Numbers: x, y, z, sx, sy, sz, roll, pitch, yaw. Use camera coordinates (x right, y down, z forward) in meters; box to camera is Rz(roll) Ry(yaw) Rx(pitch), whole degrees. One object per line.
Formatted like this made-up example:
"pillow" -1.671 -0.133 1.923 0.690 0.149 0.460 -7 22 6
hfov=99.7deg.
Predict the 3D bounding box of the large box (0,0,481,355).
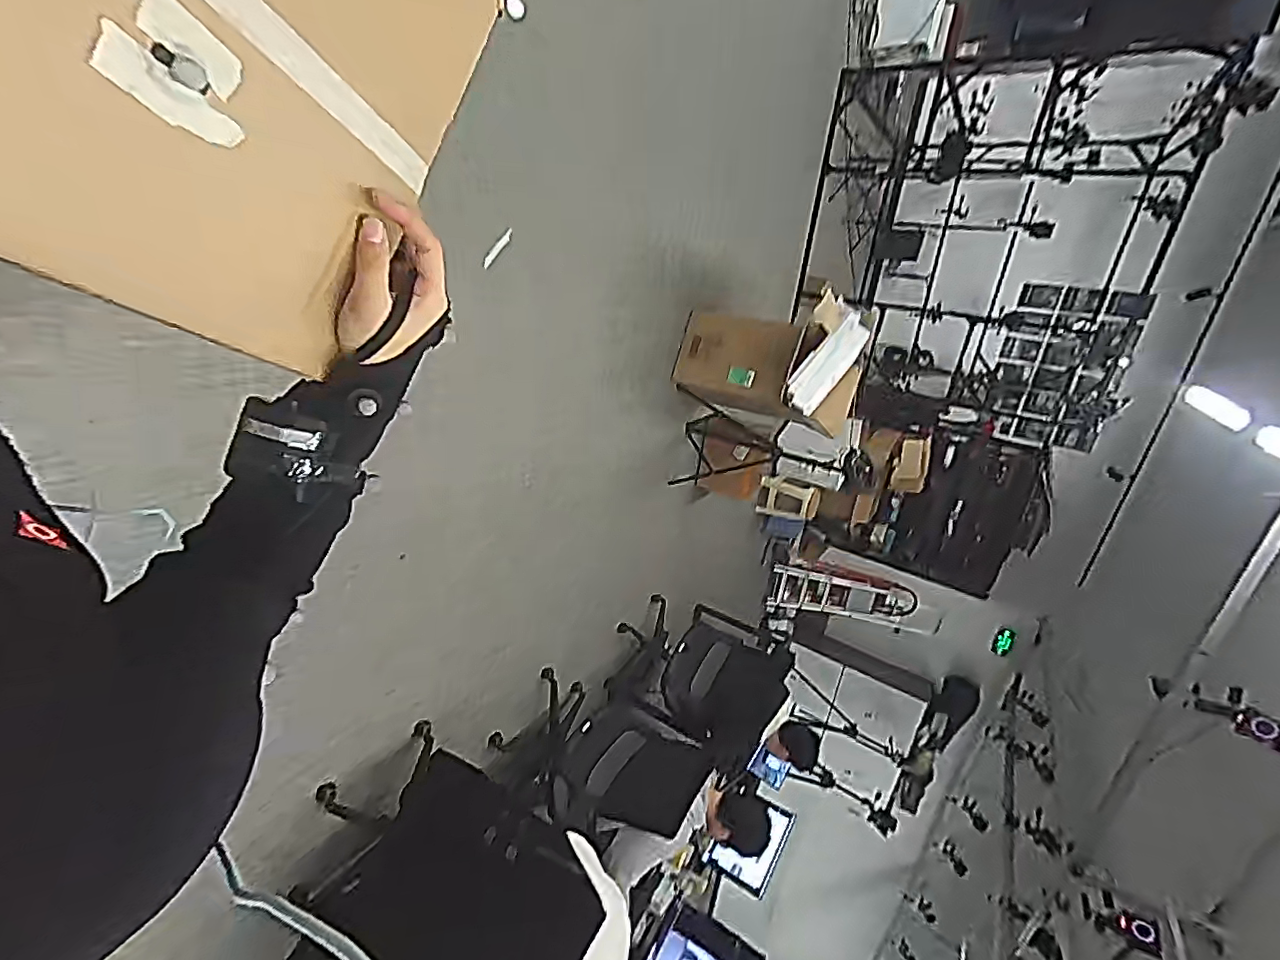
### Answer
"large box" -0.358 -0.306 0.254 0.320 0.320 0.408 -66 159 0
